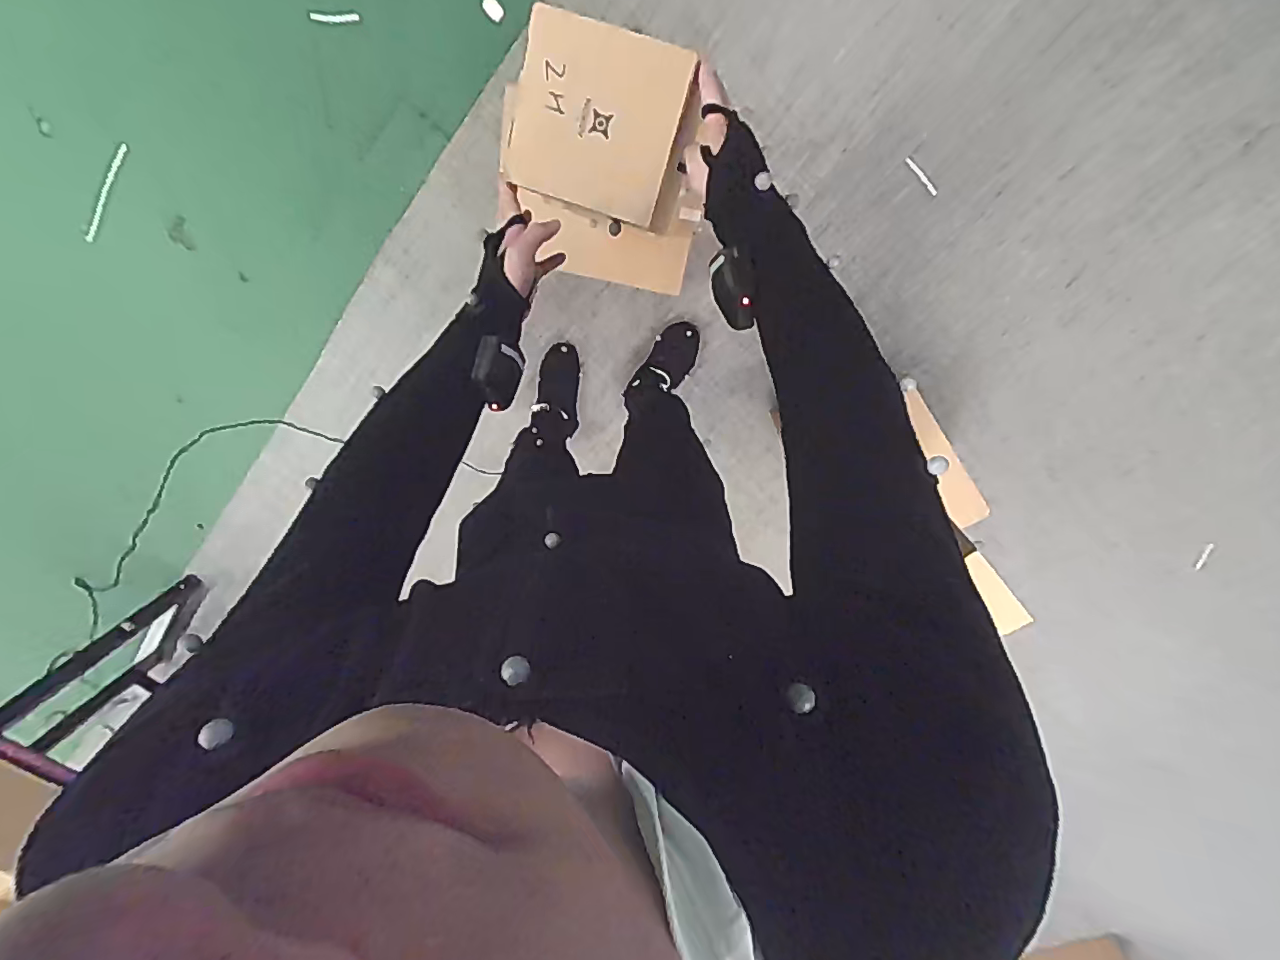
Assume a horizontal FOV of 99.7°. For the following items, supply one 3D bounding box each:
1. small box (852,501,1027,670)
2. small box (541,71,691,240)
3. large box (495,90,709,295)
[{"bbox_3d":[0.476,0.170,0.896,0.179,0.176,0.168,-39,107,20],"label":"small box"},{"bbox_3d":[-0.031,-0.476,0.819,0.179,0.176,0.168,18,116,-3],"label":"small box"},{"bbox_3d":[-0.071,-0.623,1.209,0.408,0.320,0.320,12,115,1],"label":"large box"}]
